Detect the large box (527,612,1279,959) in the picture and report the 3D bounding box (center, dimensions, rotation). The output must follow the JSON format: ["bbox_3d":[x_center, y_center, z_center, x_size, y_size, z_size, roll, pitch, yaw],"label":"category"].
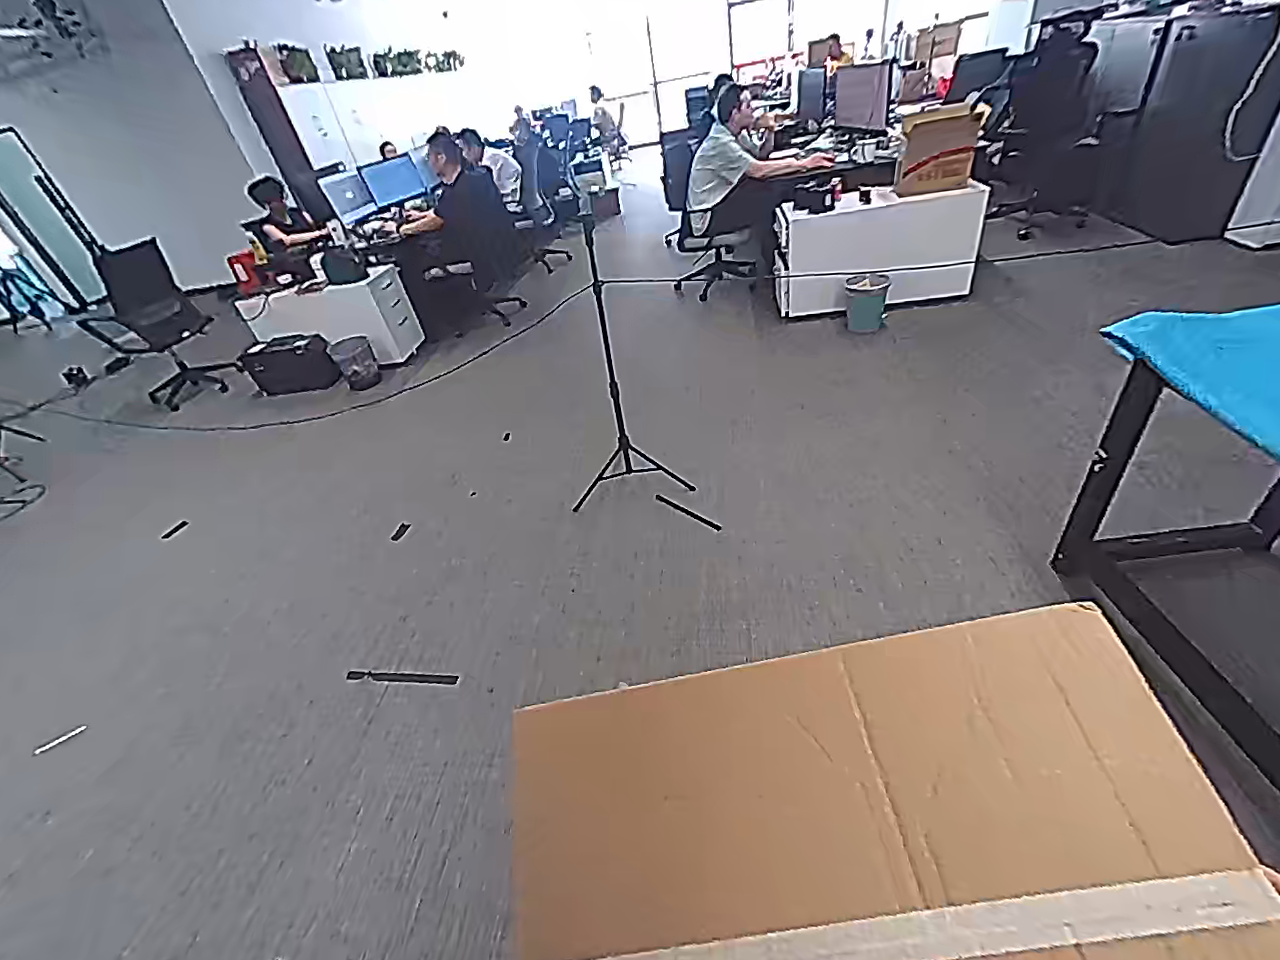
[{"bbox_3d":[0.158,0.339,0.431,0.408,0.320,0.320,-14,58,6],"label":"large box"}]
